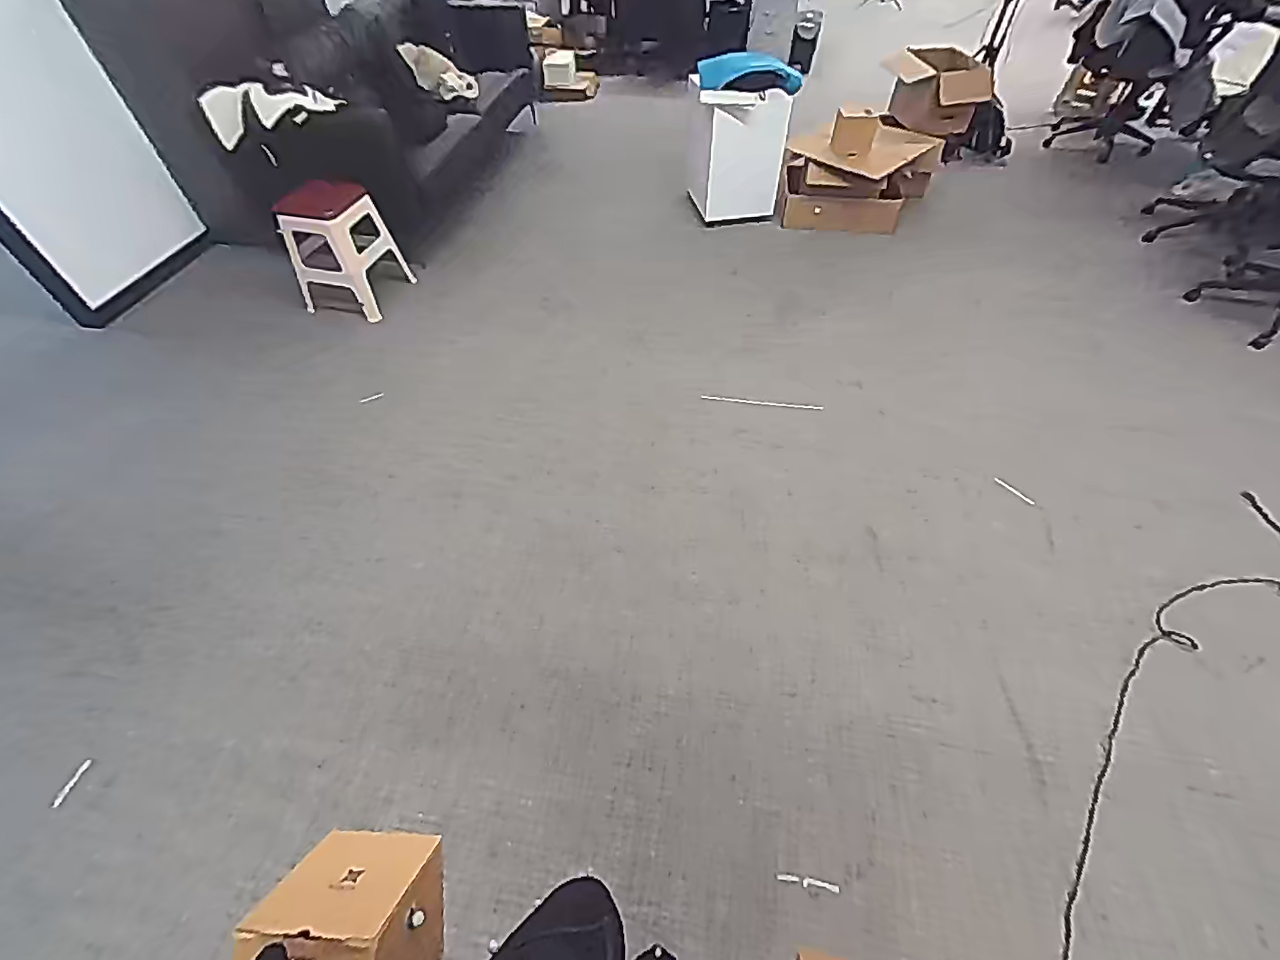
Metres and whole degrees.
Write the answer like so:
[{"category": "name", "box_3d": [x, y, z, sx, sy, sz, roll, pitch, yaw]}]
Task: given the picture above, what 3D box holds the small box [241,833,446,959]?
[{"category": "small box", "box_3d": [-0.361, 0.586, 0.680, 0.168, 0.179, 0.176, -1, 91, 5]}]
